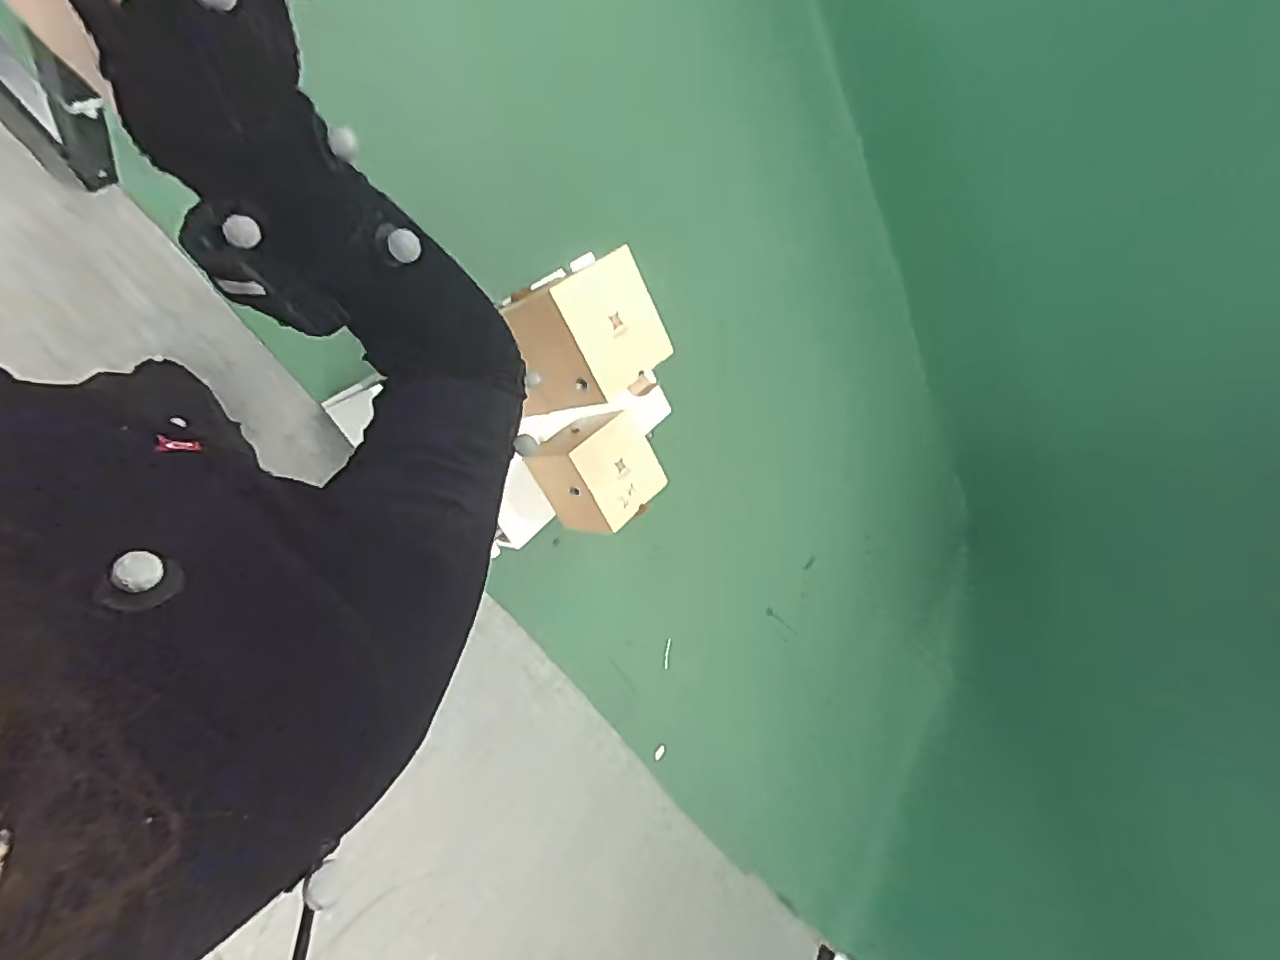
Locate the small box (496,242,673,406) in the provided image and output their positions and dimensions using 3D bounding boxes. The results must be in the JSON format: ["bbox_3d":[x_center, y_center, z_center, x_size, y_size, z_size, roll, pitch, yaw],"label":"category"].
[{"bbox_3d":[-0.087,-0.229,0.827,0.168,0.176,0.179,-45,120,-32],"label":"small box"}]

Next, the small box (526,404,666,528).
[{"bbox_3d":[-0.088,-0.026,1.043,0.168,0.176,0.179,-42,116,-32],"label":"small box"}]

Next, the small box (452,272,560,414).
[{"bbox_3d":[-0.196,-0.231,0.949,0.168,0.176,0.179,-46,119,-31],"label":"small box"}]
